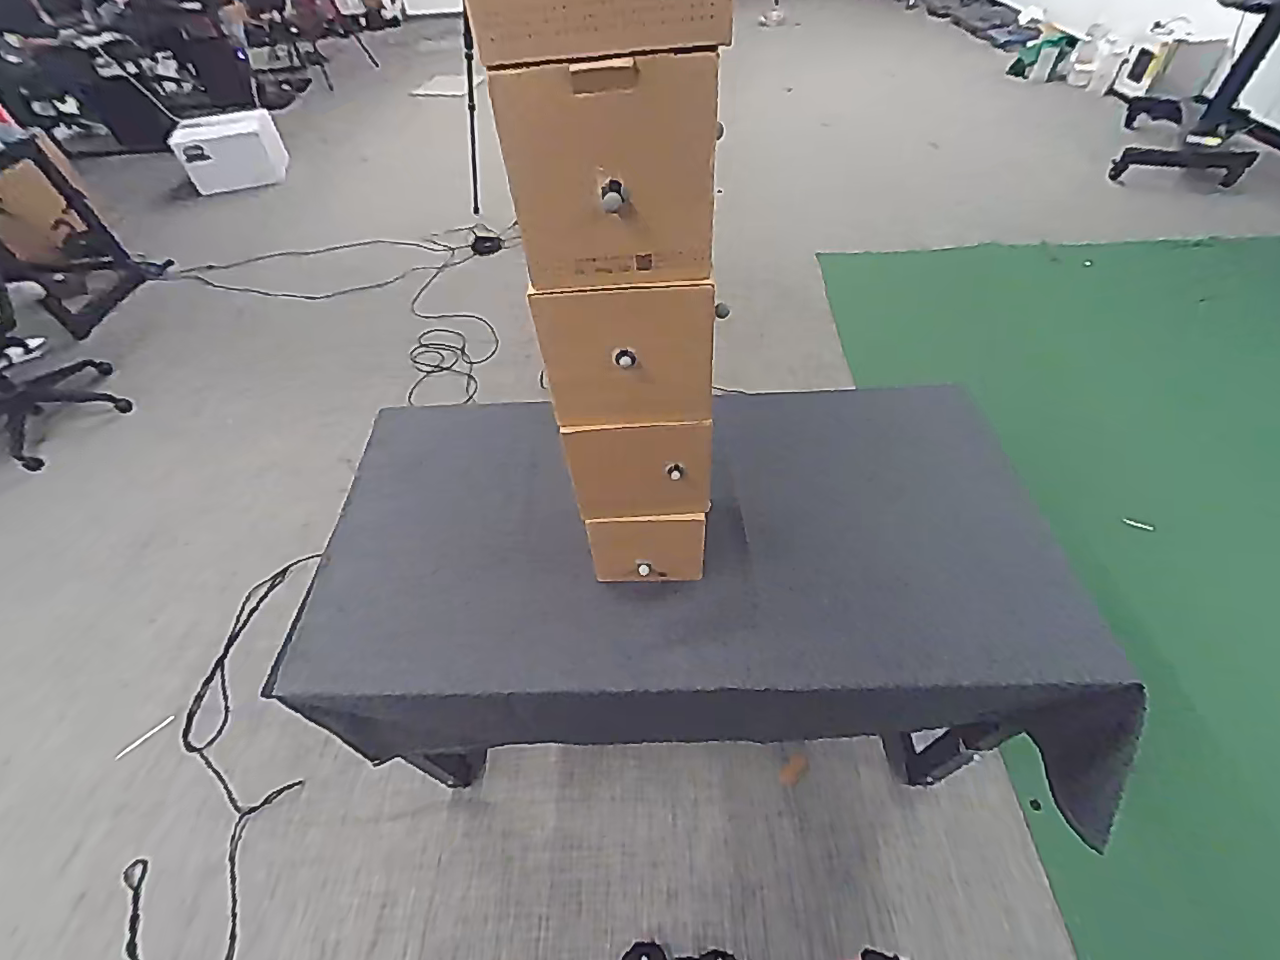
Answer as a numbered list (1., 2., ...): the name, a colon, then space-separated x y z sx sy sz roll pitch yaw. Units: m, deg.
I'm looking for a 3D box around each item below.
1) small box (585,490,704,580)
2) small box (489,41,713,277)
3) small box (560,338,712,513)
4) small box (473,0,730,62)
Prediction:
1. small box: 0.012 0.038 0.847 0.168 0.176 0.179 -1 50 4
2. small box: -0.022 -0.300 0.494 0.168 0.176 0.179 -2 49 3
3. small box: -0.002 -0.070 0.726 0.179 0.176 0.168 -3 48 2
4. small box: -0.029 -0.407 0.369 0.179 0.176 0.168 -2 48 3
